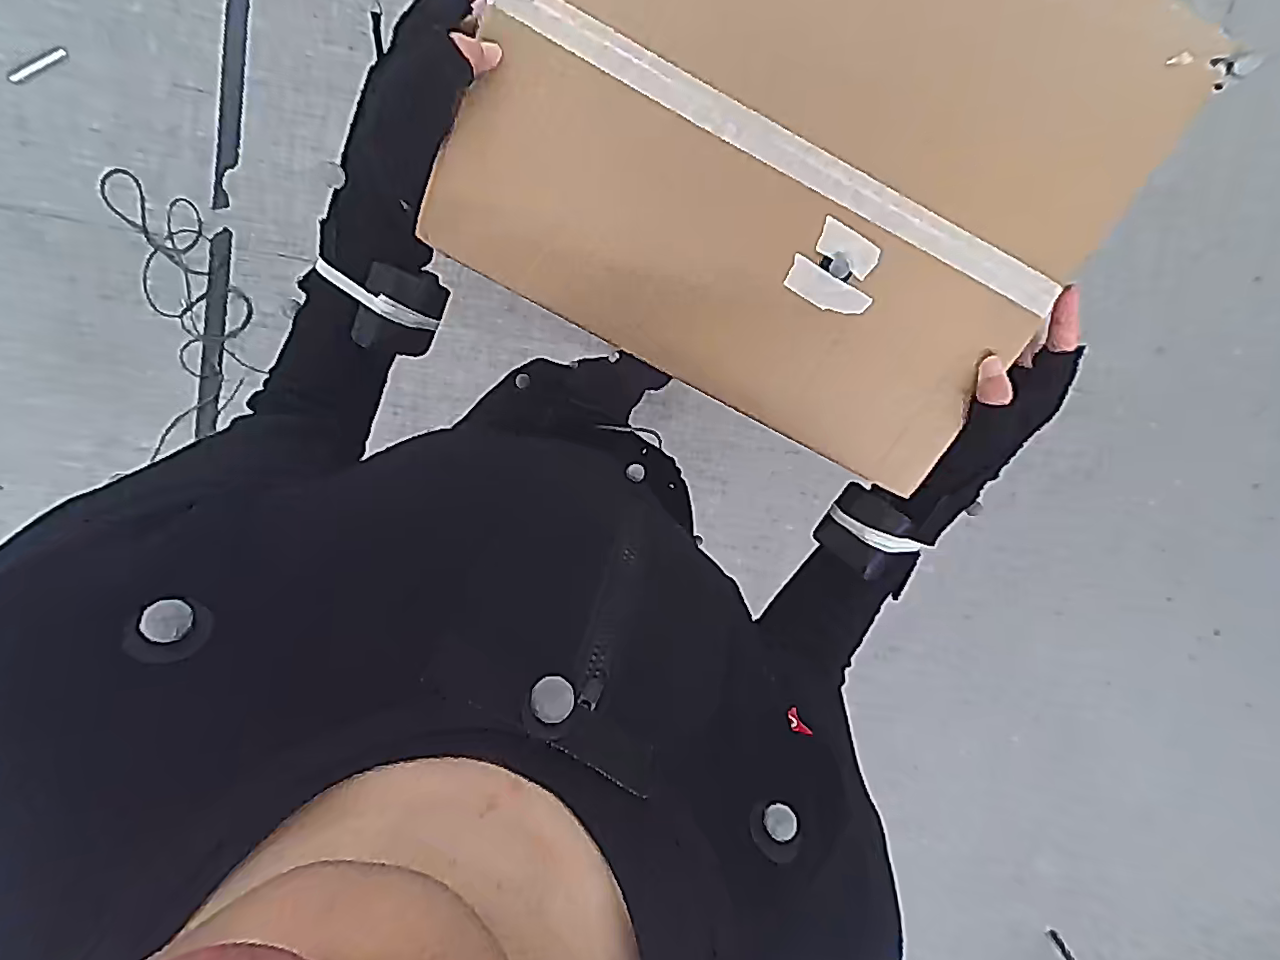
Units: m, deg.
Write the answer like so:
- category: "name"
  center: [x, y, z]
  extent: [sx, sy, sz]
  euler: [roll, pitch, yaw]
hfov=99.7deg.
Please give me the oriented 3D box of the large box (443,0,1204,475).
- category: "large box"
  center: [0.108, -0.263, 0.498]
  extent: [0.408, 0.320, 0.320]
  euler: [27, 110, -5]
